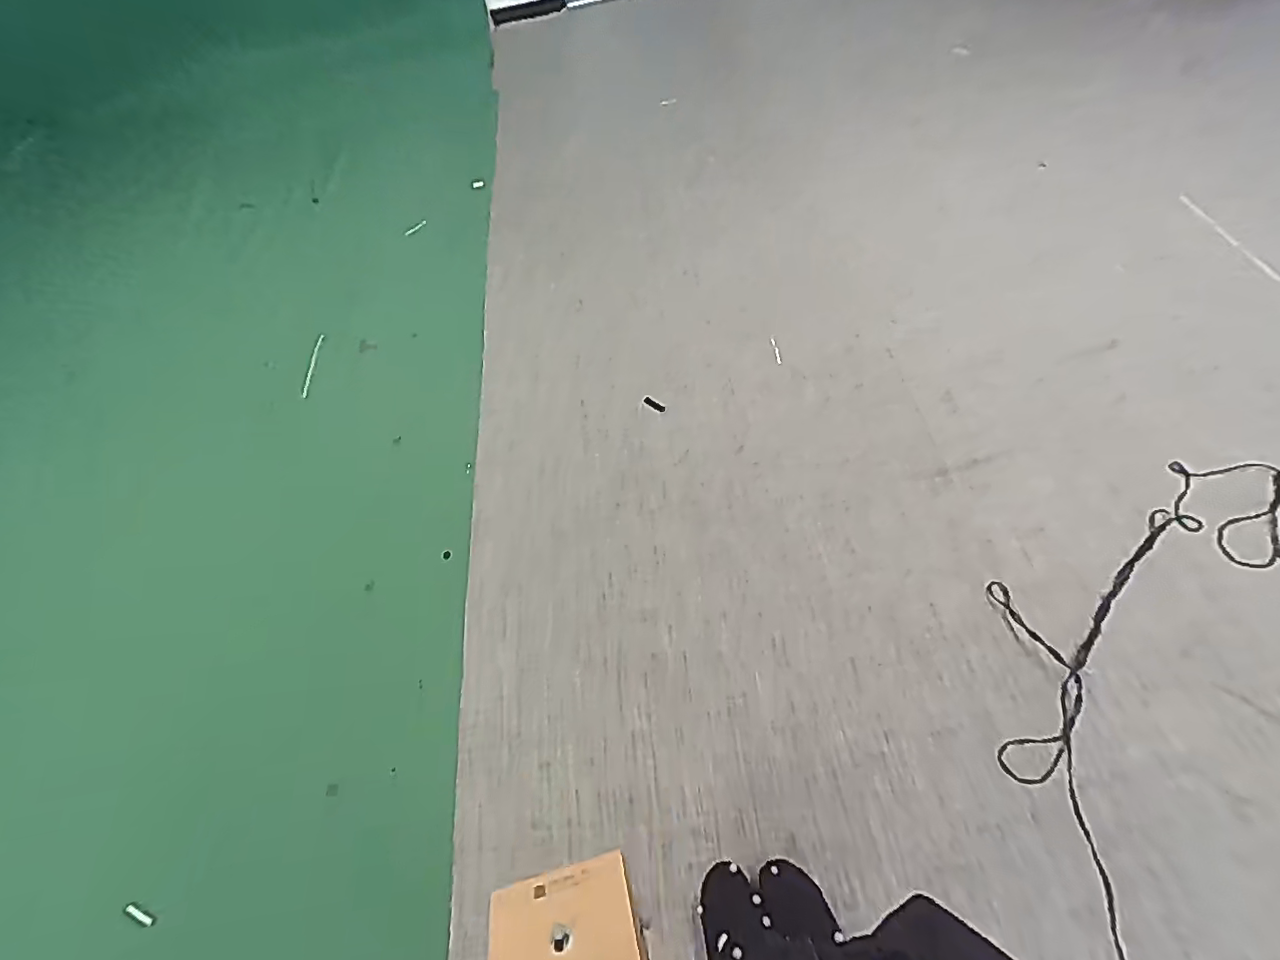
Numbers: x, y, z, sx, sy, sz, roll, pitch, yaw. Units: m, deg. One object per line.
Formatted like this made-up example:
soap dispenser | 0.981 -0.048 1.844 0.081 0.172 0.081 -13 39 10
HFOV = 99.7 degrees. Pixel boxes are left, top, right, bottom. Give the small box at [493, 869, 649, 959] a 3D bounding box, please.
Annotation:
small box | -0.069 0.591 0.621 0.168 0.179 0.176 -15 22 -9
